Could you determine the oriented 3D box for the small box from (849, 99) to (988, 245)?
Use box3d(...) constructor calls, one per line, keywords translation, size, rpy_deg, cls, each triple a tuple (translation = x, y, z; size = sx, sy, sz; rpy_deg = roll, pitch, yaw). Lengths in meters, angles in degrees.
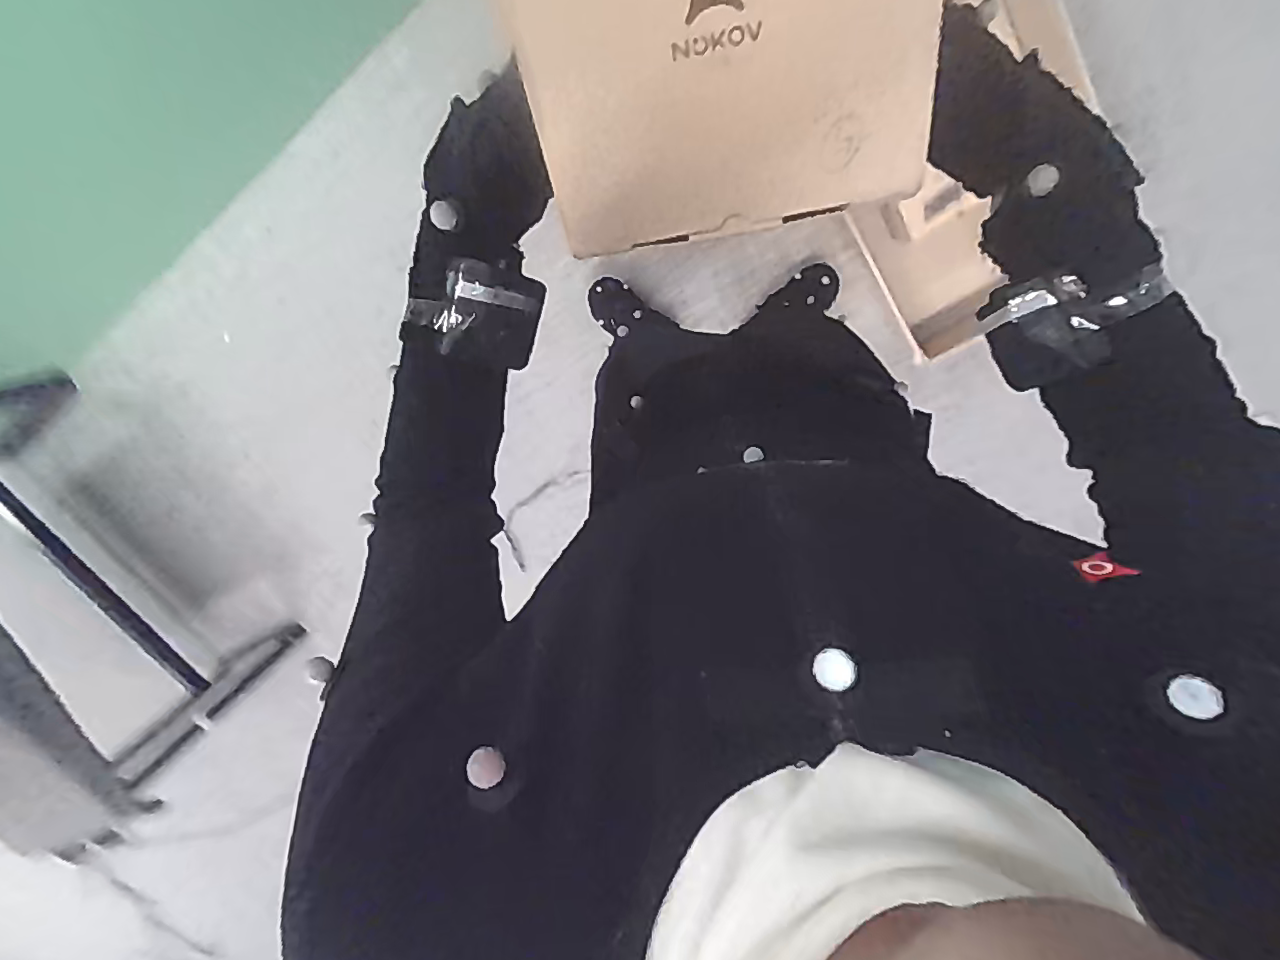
box3d(translation=(0.523, -0.578, 1.036), size=(0.168, 0.176, 0.179), rpy_deg=(-27, 106, 20), cls="small box")
